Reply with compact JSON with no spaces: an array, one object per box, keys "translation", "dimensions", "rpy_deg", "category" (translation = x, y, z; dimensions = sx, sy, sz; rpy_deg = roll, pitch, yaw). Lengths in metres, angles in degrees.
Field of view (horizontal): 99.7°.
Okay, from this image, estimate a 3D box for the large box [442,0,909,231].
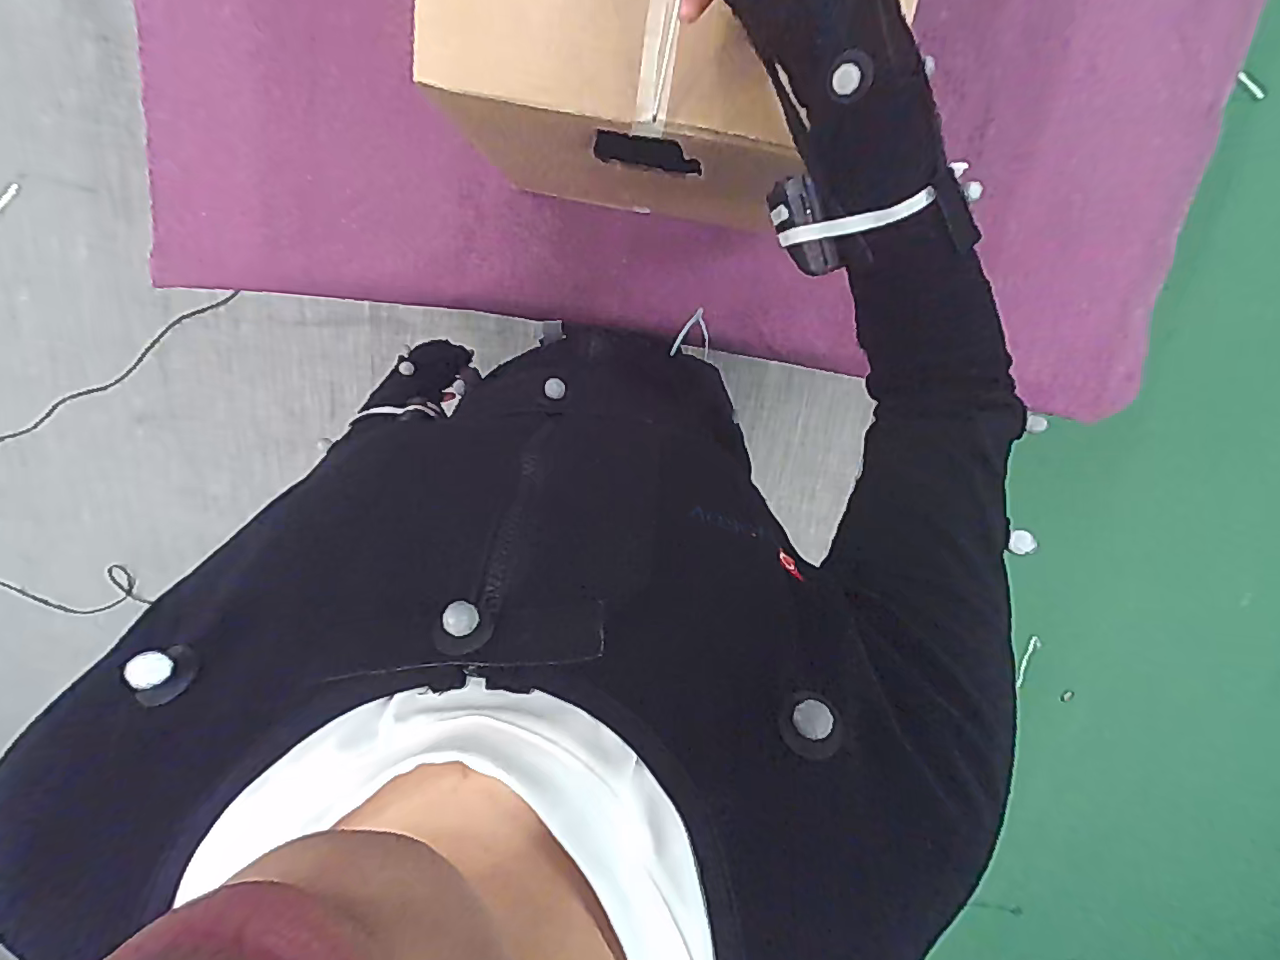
[{"translation":[0.040,-0.475,0.466],"dimensions":[0.320,0.320,0.408],"rpy_deg":[9,107,-3],"category":"large box"}]
